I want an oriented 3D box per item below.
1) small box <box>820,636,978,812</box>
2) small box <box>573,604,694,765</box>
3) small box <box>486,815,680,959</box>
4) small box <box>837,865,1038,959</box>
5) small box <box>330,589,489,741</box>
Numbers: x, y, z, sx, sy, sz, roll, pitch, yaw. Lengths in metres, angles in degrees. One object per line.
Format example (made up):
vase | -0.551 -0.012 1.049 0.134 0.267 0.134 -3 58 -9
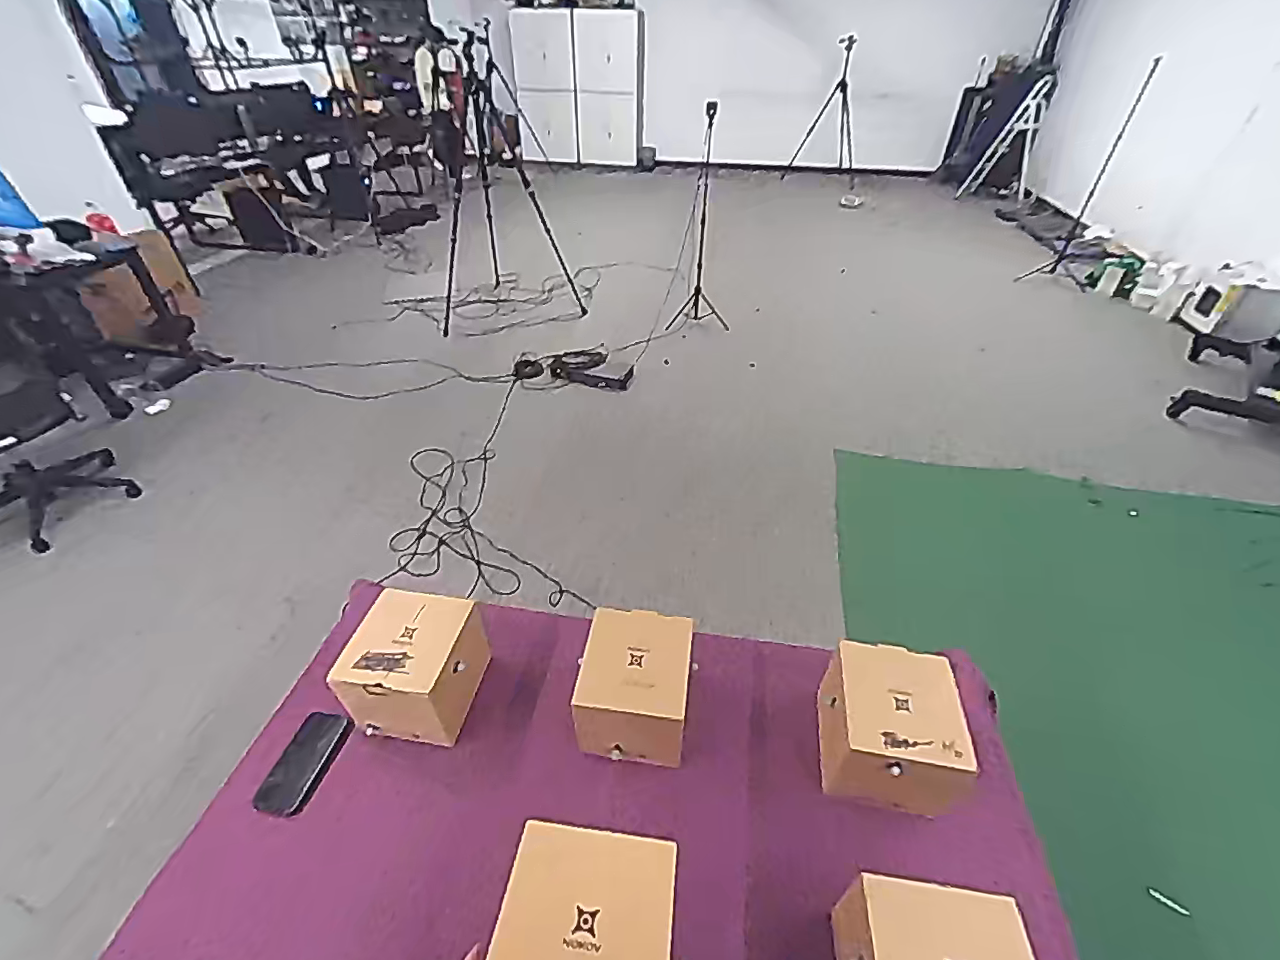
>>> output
small box | 0.378 0.371 0.829 0.168 0.176 0.179 6 40 9
small box | -0.004 0.332 0.884 0.168 0.176 0.179 5 41 8
small box | -0.054 0.480 0.540 0.168 0.176 0.179 6 32 5
small box | 0.324 0.564 0.594 0.168 0.176 0.179 4 40 8
small box | -0.369 0.311 0.909 0.168 0.176 0.179 6 40 7
